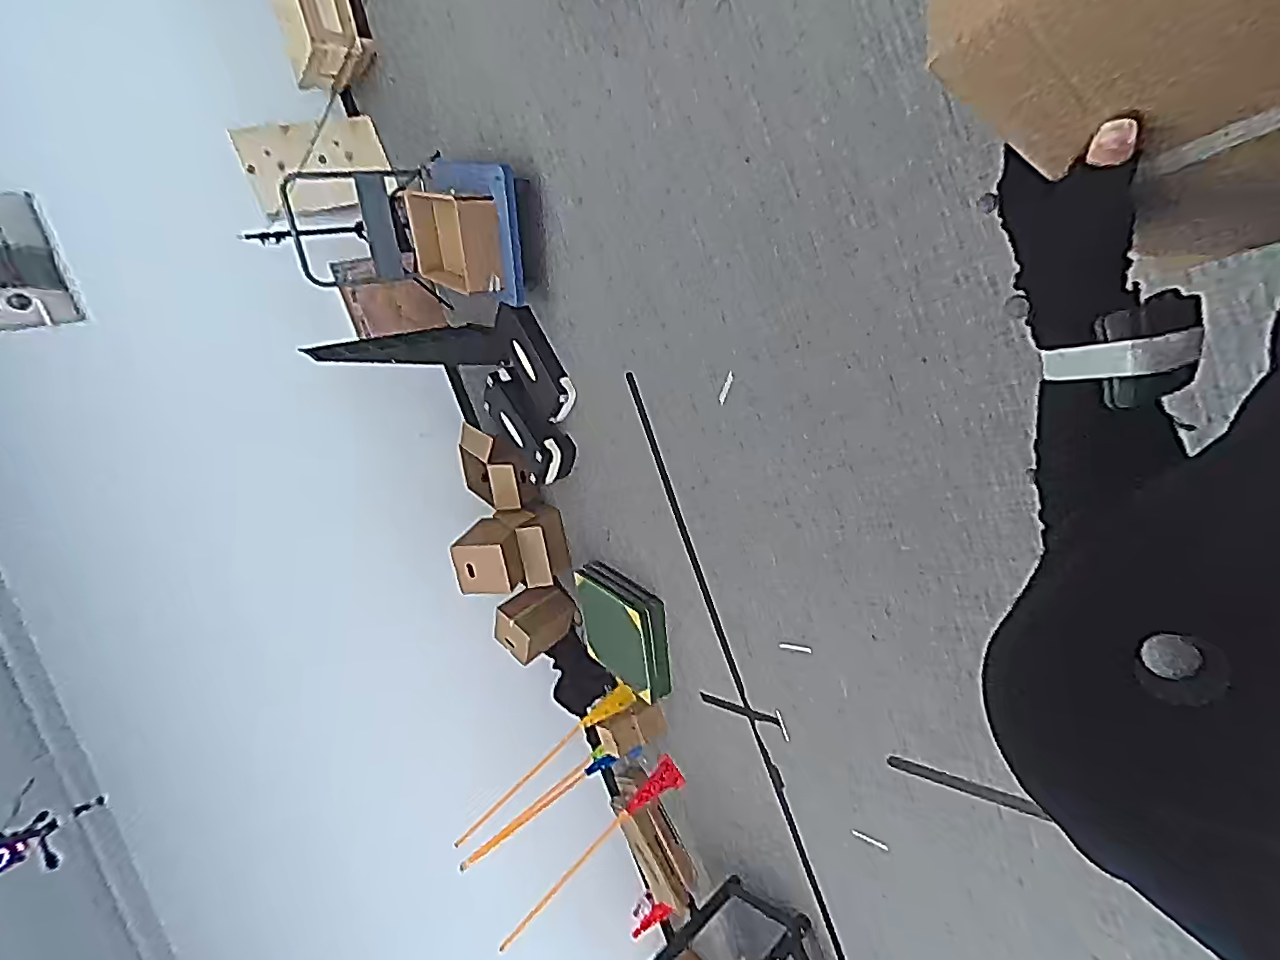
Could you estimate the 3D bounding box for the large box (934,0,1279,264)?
[{"bbox_3d":[0.382,-0.342,0.185,0.408,0.320,0.320,-5,79,59],"label":"large box"}]
